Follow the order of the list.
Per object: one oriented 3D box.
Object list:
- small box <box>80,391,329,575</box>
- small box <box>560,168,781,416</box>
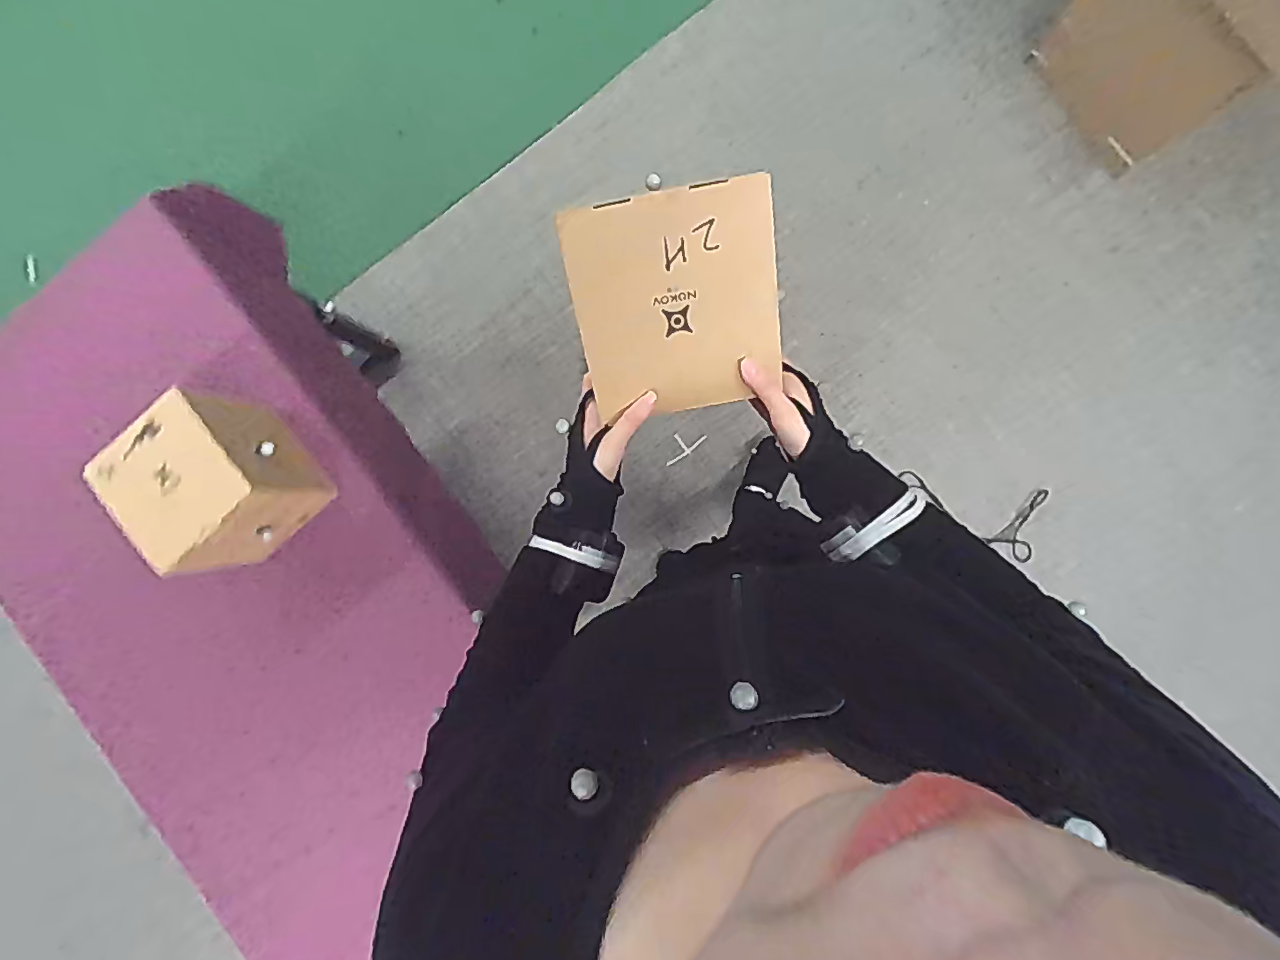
[{"bbox_3d":[-0.584,0.003,0.752,0.168,0.176,0.179,-40,86,2],"label":"small box"},{"bbox_3d":[0.031,-0.180,0.511,0.168,0.176,0.179,-9,116,3],"label":"small box"}]
